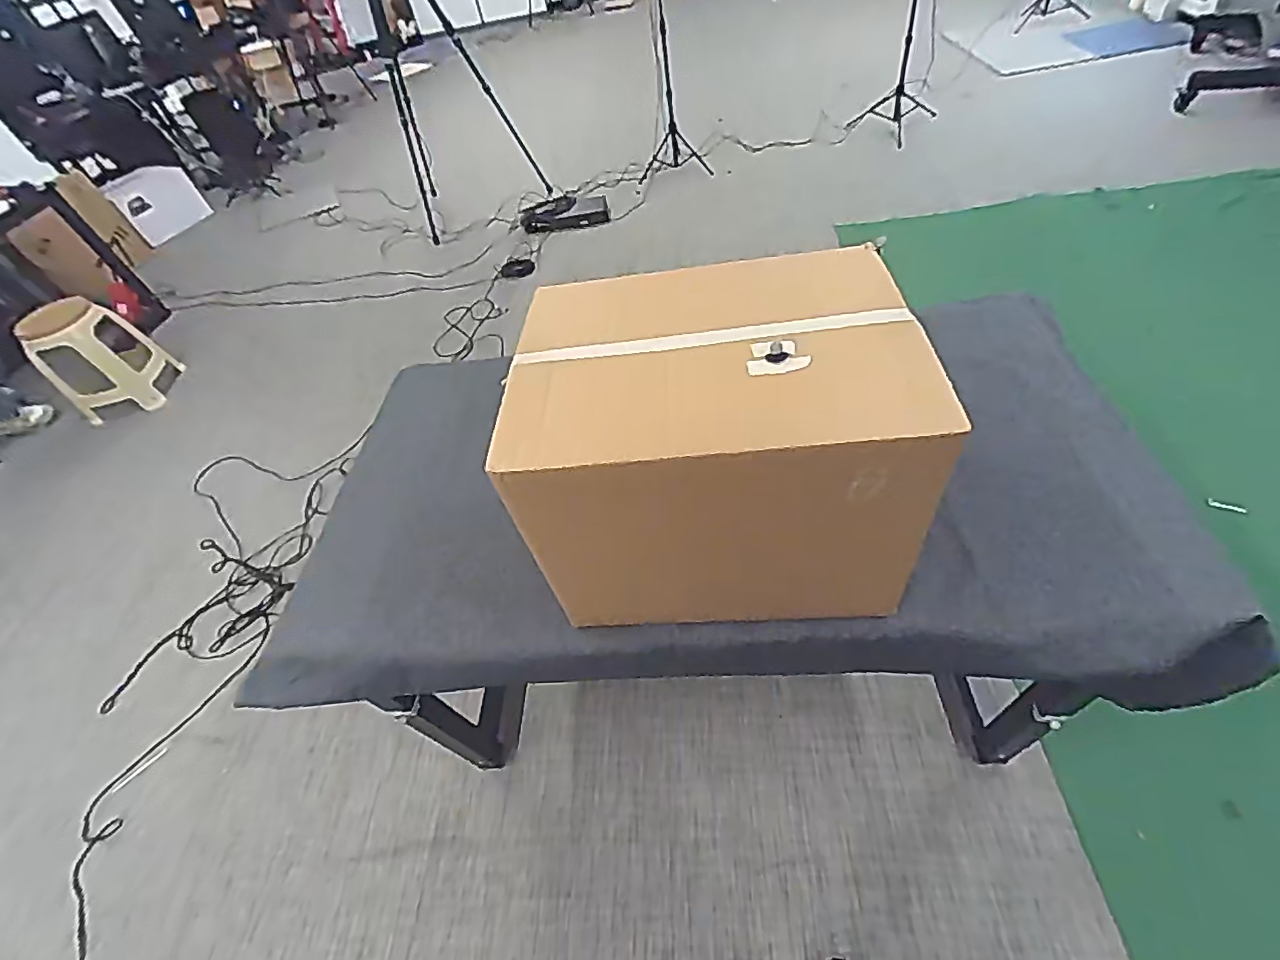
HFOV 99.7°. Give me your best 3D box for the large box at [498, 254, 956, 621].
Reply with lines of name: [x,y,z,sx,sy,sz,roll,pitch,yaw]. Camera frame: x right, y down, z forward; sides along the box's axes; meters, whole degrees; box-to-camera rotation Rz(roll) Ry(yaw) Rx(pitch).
large box: [0.088,-0.040,0.672,0.408,0.320,0.320,-4,49,7]
